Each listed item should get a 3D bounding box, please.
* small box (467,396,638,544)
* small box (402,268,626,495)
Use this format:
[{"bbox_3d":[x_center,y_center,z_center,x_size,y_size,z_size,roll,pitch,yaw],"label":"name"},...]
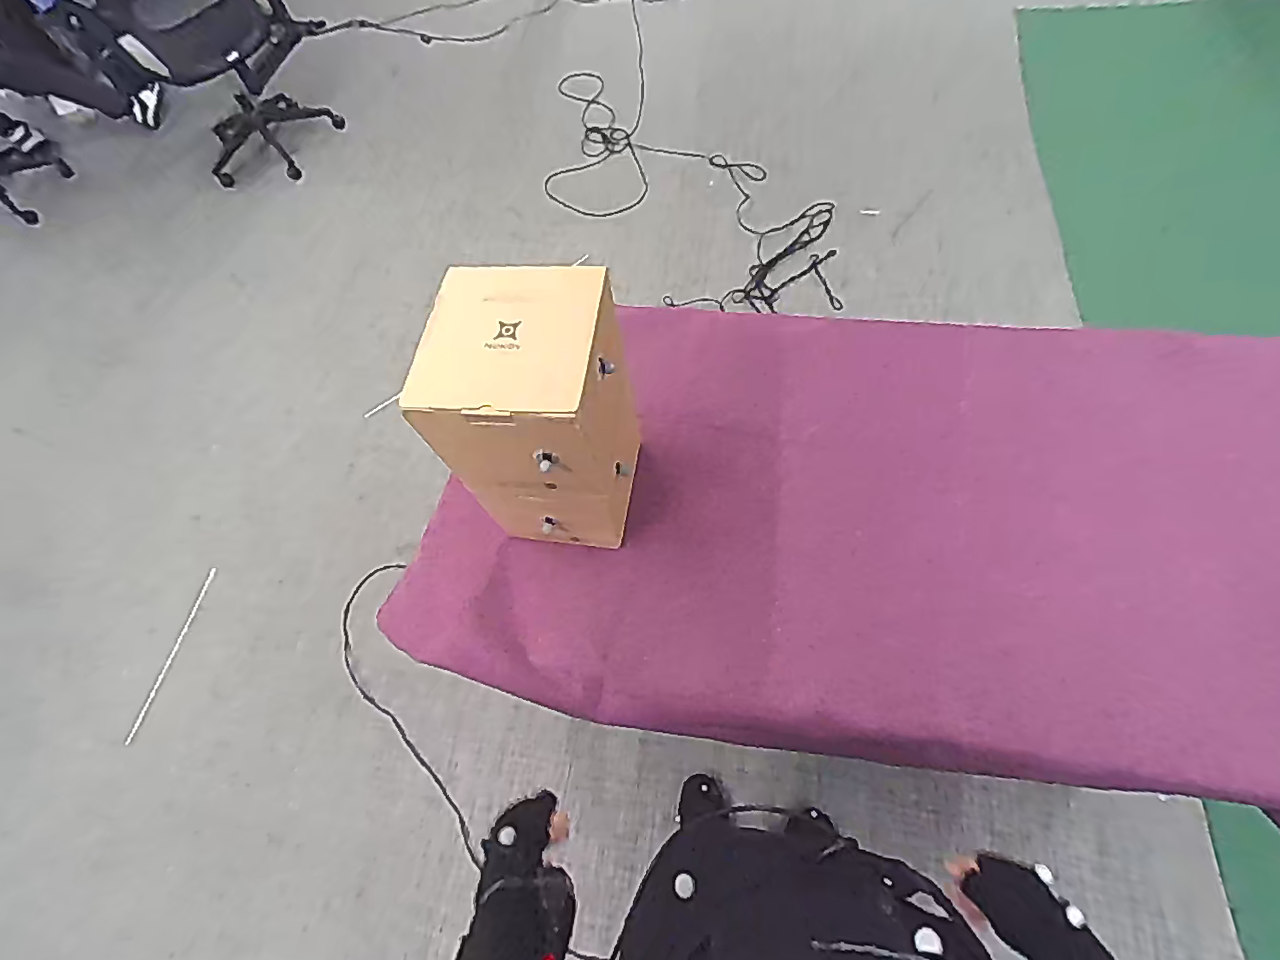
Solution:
[{"bbox_3d":[-0.101,-0.026,0.719,0.168,0.176,0.179,5,64,9],"label":"small box"},{"bbox_3d":[-0.113,-0.096,0.572,0.168,0.176,0.179,3,63,9],"label":"small box"}]
